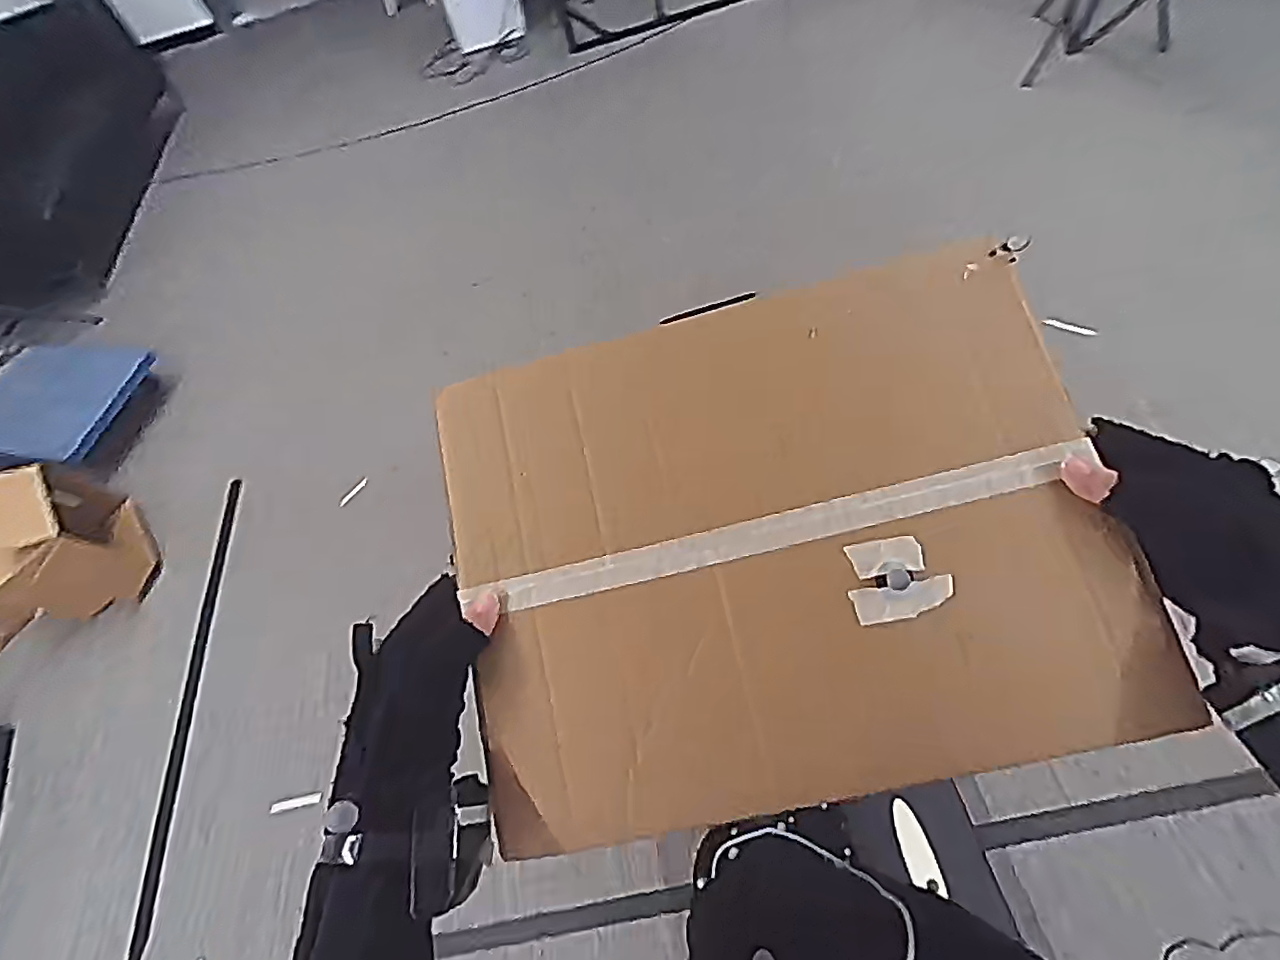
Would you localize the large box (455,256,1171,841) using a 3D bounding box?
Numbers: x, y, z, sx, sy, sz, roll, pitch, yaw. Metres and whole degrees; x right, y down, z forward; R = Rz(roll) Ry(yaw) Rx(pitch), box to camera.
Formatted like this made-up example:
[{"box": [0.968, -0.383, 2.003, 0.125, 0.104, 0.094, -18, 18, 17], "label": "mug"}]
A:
[{"box": [0.101, 0.066, 0.504, 0.408, 0.320, 0.320, -14, 77, 4], "label": "large box"}]
